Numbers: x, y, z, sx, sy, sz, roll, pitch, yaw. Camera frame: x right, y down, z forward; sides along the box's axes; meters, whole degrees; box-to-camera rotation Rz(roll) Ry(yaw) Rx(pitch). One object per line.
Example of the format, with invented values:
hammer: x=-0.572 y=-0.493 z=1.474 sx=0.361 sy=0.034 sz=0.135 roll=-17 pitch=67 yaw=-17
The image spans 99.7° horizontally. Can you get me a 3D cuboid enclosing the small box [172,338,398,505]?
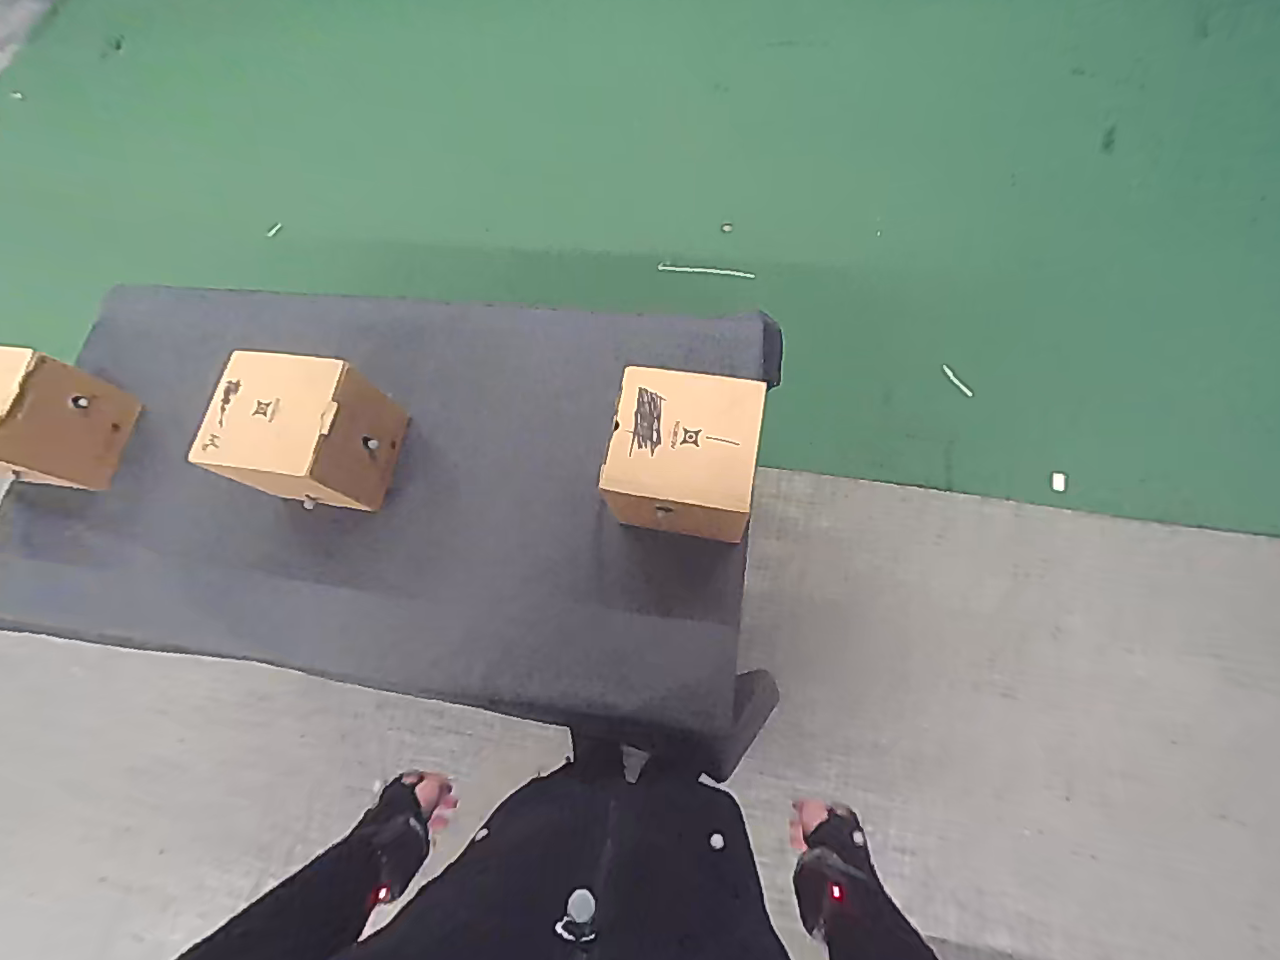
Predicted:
small box: x=-0.469 y=-0.071 z=0.750 sx=0.179 sy=0.176 sz=0.168 roll=8 pitch=71 yaw=5

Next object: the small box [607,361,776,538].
small box: x=0.066 y=-0.031 z=0.702 sx=0.179 sy=0.176 sz=0.168 roll=10 pitch=72 yaw=6

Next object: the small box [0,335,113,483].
small box: x=-0.948 y=-0.103 z=0.788 sx=0.179 sy=0.176 sz=0.168 roll=6 pitch=70 yaw=6
